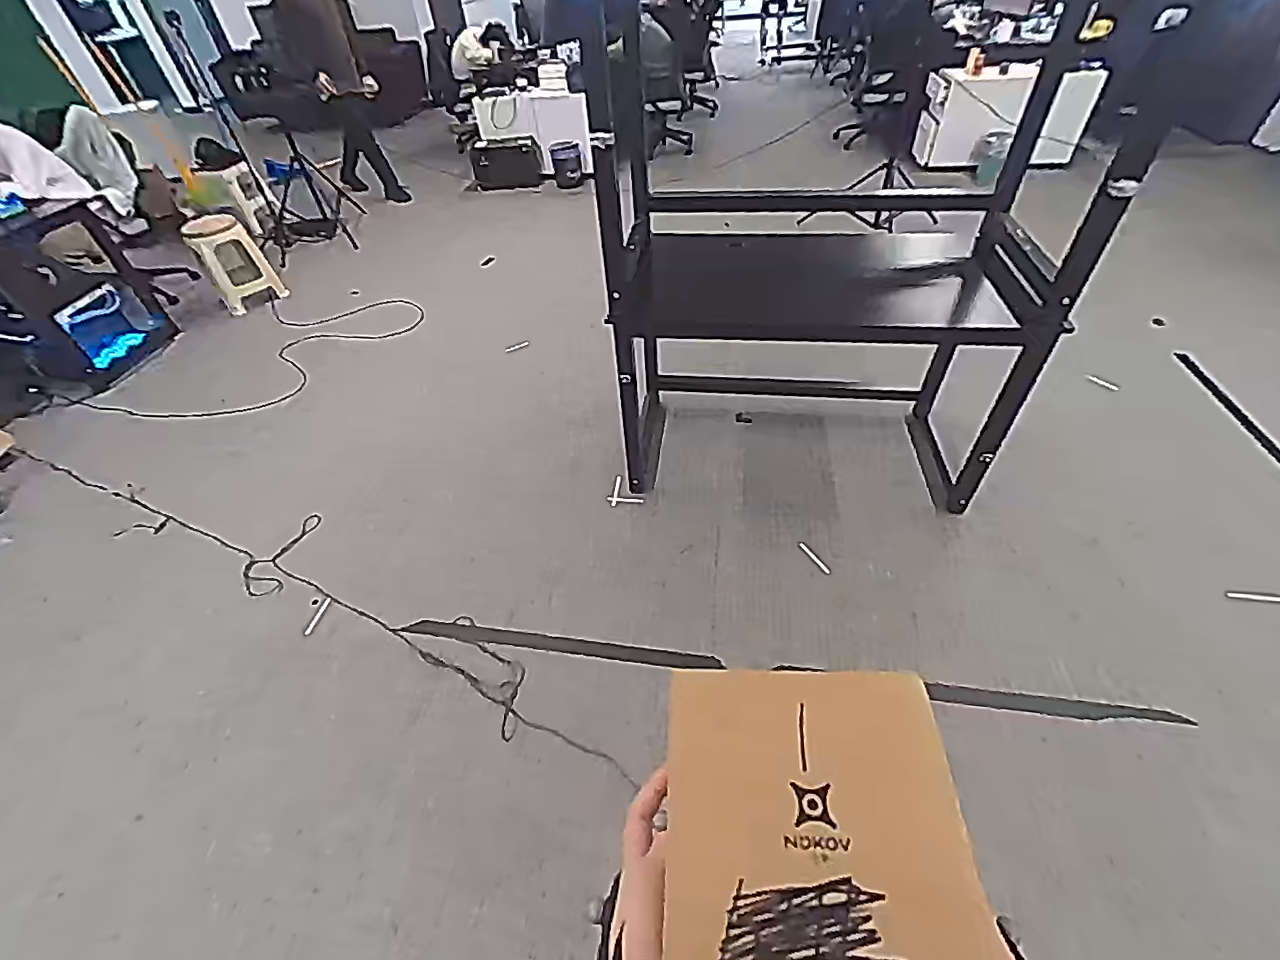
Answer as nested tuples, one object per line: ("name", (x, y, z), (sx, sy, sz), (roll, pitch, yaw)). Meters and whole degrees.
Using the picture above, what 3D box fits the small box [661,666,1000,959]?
("small box", (0.105, 0.245, 0.365), (0.168, 0.176, 0.179), (0, 48, 6))
